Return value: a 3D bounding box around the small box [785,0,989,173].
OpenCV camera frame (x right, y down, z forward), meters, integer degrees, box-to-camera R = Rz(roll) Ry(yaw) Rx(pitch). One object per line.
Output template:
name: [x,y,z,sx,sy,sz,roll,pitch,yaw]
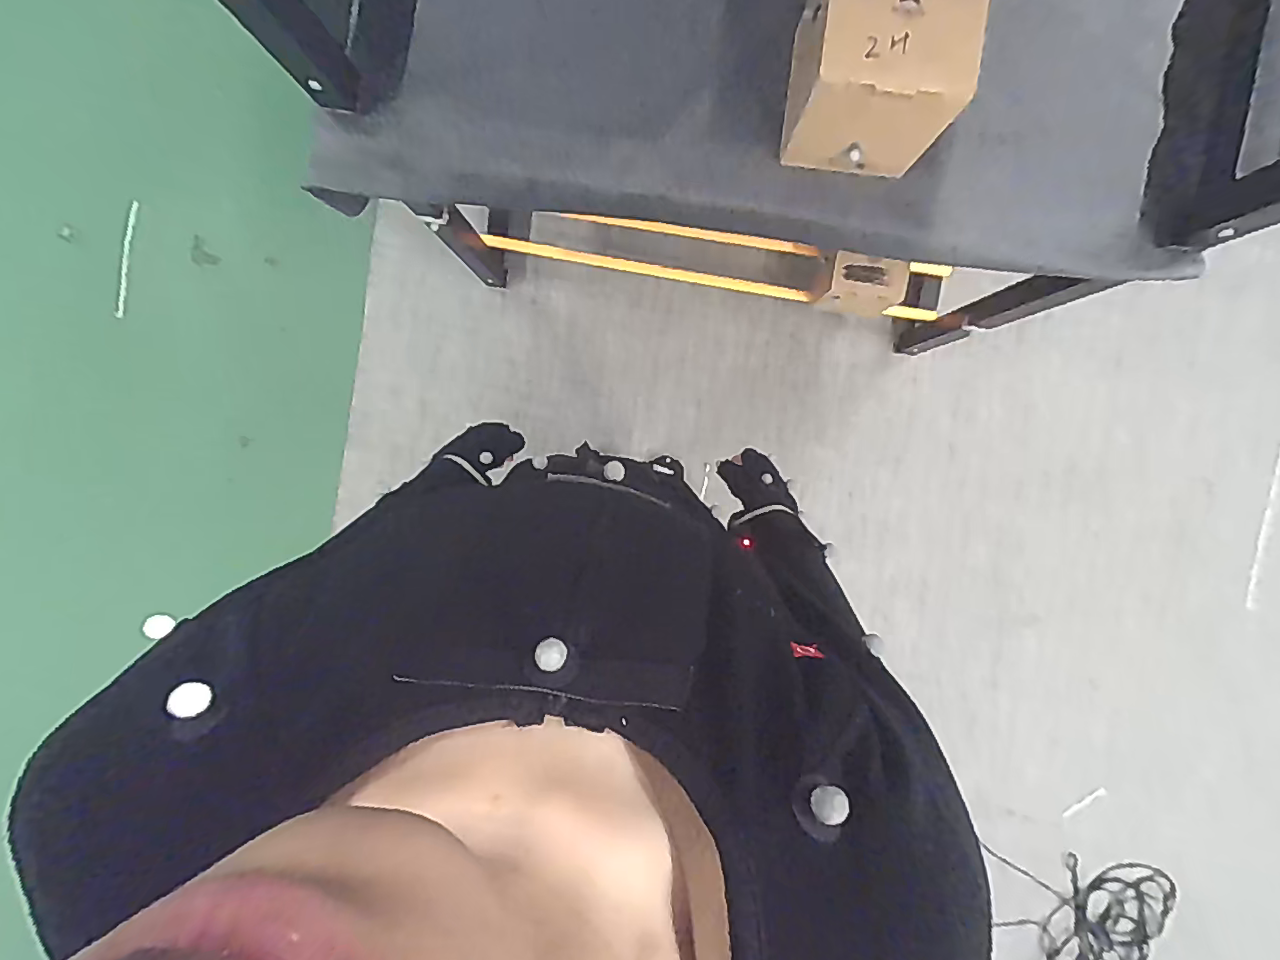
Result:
small box: [0.281,-0.505,0.643,0.168,0.176,0.179,7,92,0]
